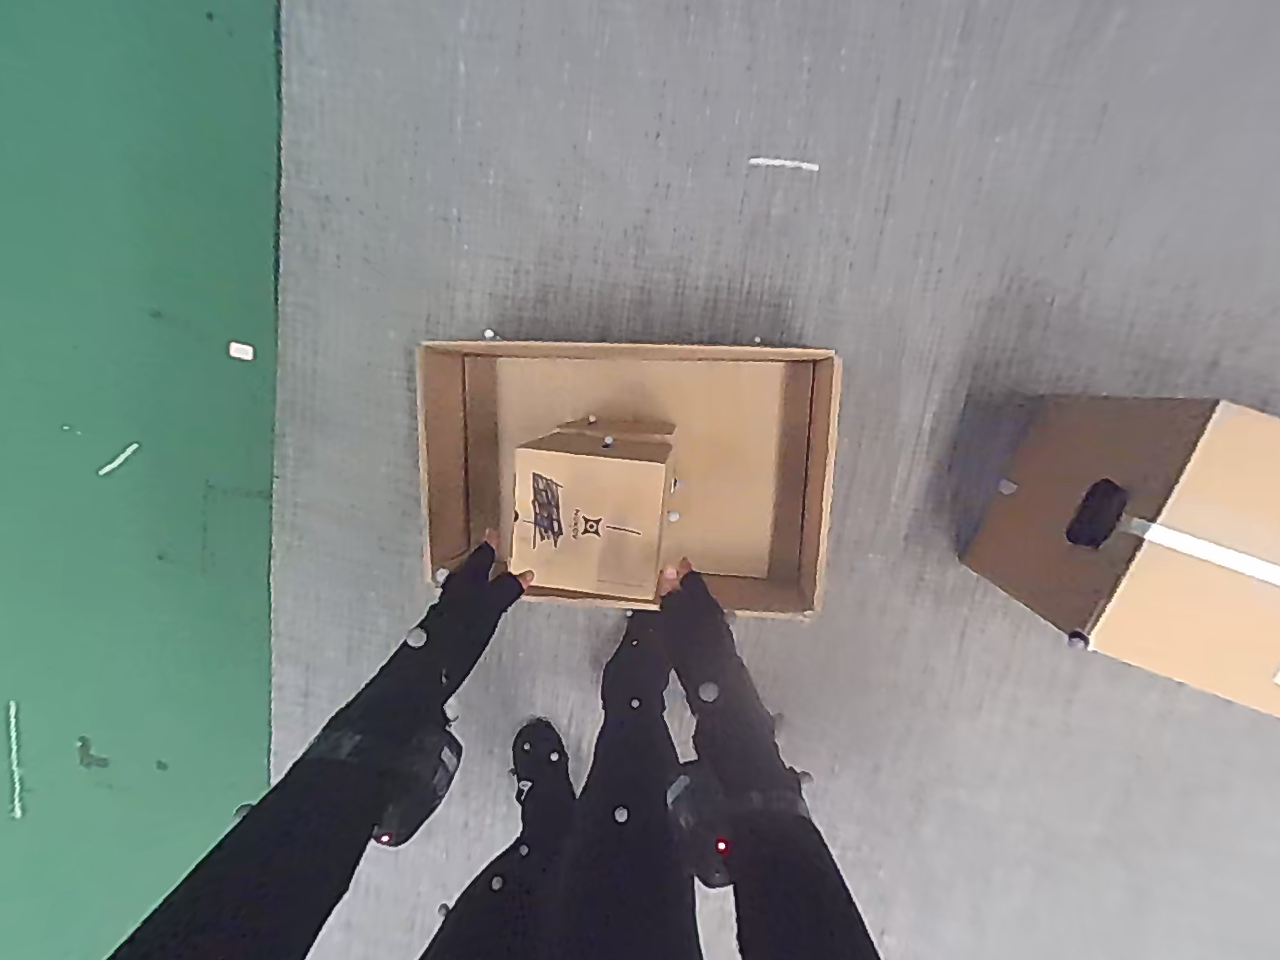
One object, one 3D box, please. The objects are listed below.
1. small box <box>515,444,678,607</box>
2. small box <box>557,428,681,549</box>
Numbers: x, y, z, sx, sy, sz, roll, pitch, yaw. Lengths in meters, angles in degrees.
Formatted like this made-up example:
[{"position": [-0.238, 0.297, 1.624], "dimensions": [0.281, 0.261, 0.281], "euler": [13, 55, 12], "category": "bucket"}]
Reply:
[{"position": [-0.048, 0.048, 0.705], "dimensions": [0.179, 0.176, 0.168], "euler": [6, 101, 5], "category": "small box"}, {"position": [-0.029, 0.008, 0.864], "dimensions": [0.179, 0.176, 0.168], "euler": [3, 101, 5], "category": "small box"}]
